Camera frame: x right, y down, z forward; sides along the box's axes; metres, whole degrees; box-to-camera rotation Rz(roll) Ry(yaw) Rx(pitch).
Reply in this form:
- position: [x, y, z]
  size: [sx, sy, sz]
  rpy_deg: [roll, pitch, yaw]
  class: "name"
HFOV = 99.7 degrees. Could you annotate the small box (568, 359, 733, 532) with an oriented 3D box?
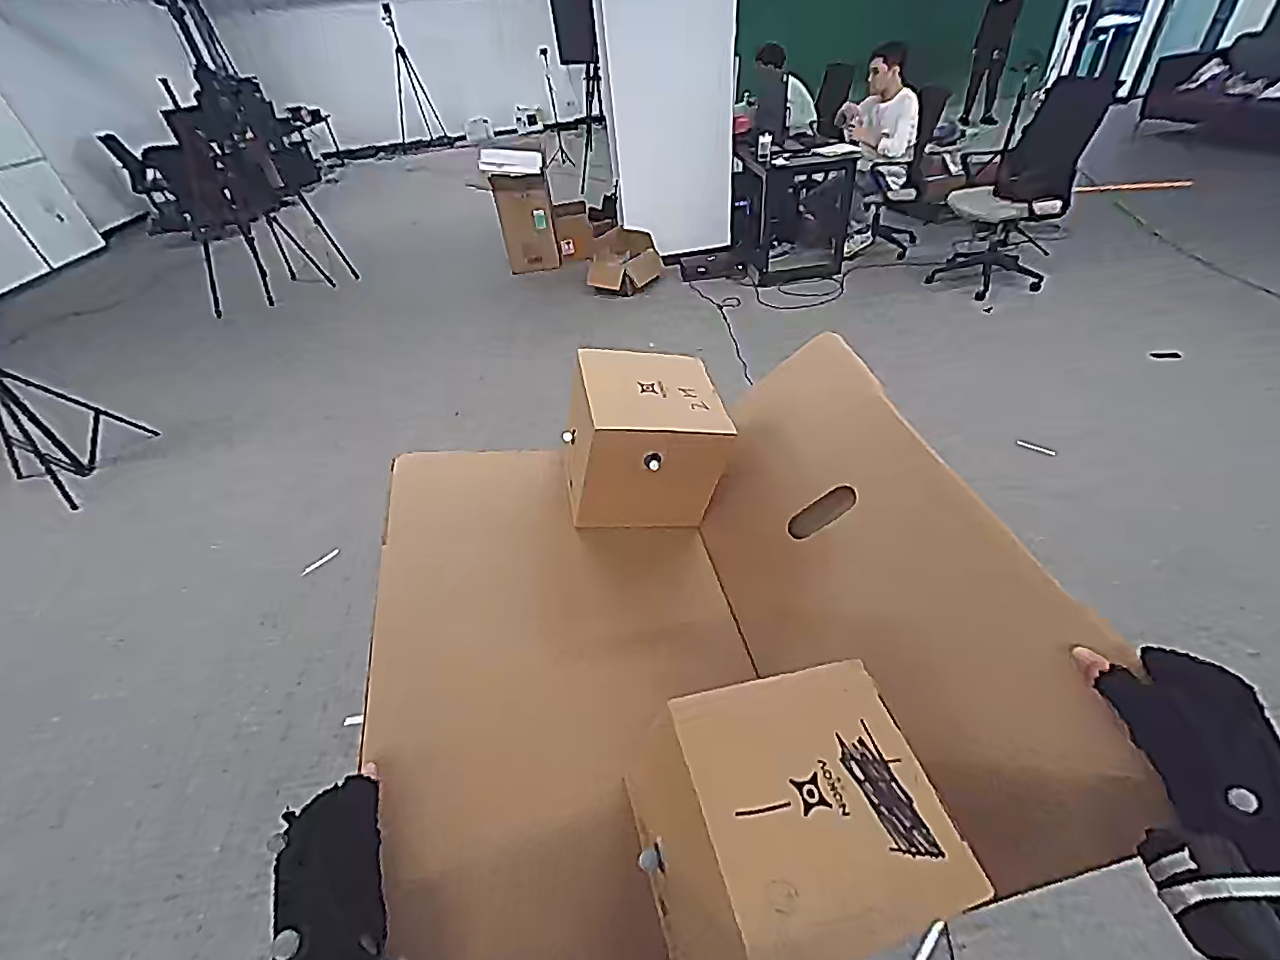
- position: [-0.001, -0.043, 0.728]
  size: [0.179, 0.176, 0.168]
  rpy_deg: [1, 44, -16]
  class: "small box"
